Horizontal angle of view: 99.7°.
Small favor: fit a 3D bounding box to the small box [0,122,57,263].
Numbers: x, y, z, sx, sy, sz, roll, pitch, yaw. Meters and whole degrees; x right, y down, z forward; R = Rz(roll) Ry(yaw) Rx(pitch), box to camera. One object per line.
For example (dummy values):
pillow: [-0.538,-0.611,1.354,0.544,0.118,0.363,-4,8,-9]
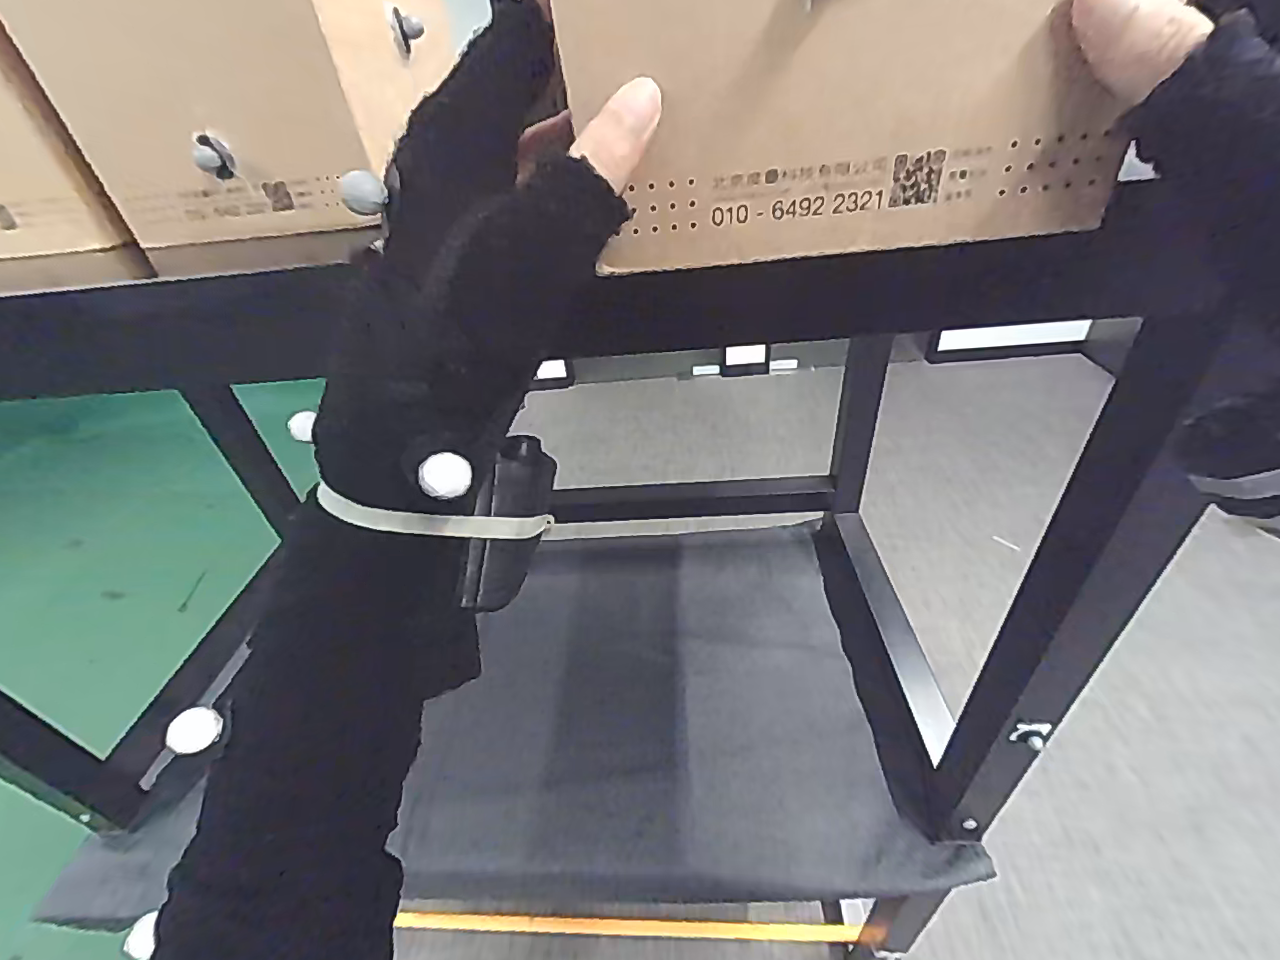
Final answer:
small box: [-0.609,-0.233,0.396,0.168,0.176,0.179,-2,37,7]
